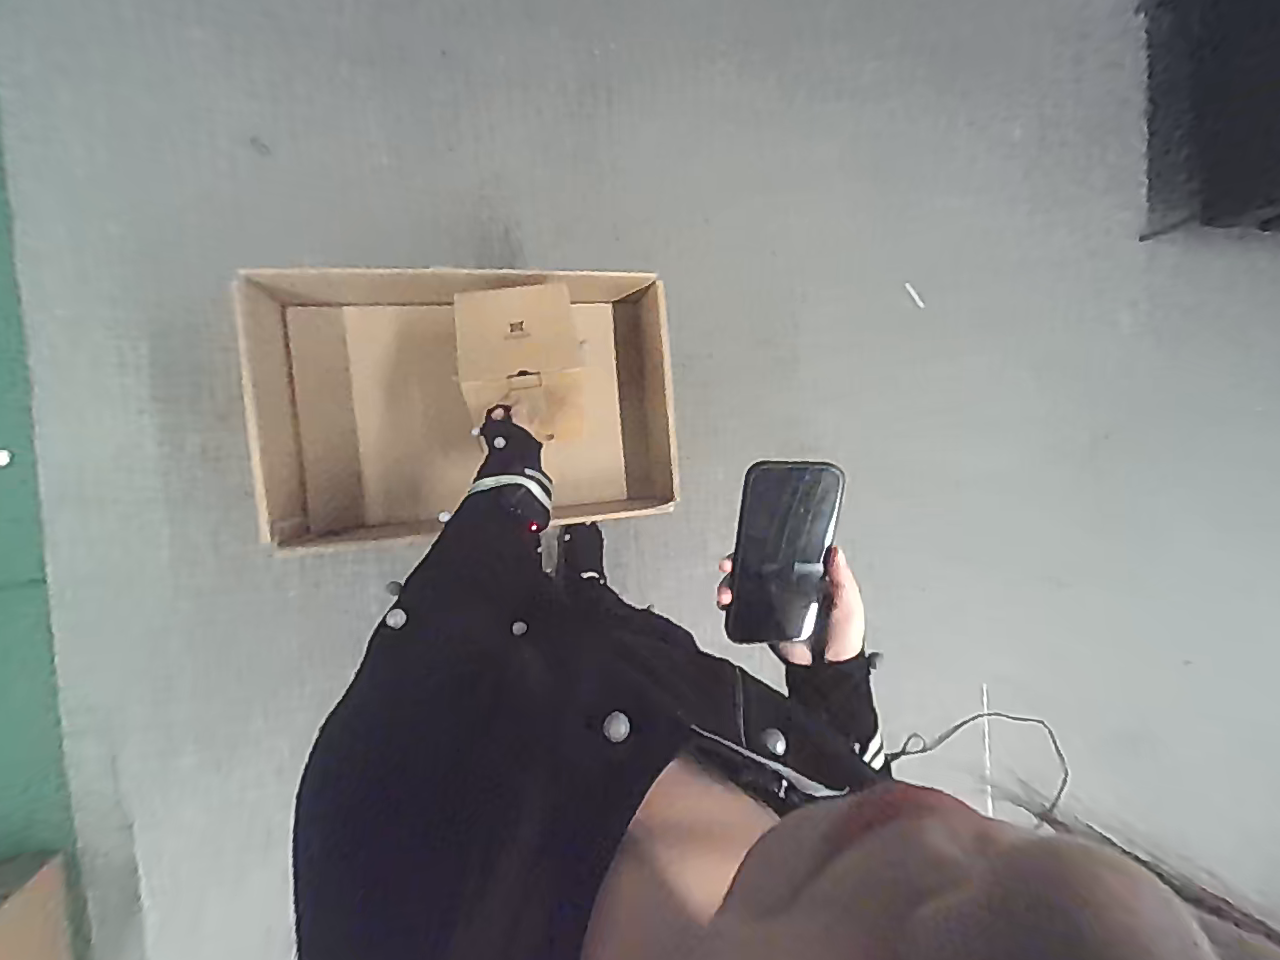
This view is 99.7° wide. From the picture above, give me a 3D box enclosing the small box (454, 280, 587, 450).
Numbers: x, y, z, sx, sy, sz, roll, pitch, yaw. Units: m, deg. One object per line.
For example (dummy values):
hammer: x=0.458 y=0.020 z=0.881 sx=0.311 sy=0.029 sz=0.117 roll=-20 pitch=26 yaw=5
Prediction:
small box: x=-0.175 y=-0.169 z=0.809 sx=0.168 sy=0.176 sz=0.179 roll=-10 pitch=60 yaw=-9
